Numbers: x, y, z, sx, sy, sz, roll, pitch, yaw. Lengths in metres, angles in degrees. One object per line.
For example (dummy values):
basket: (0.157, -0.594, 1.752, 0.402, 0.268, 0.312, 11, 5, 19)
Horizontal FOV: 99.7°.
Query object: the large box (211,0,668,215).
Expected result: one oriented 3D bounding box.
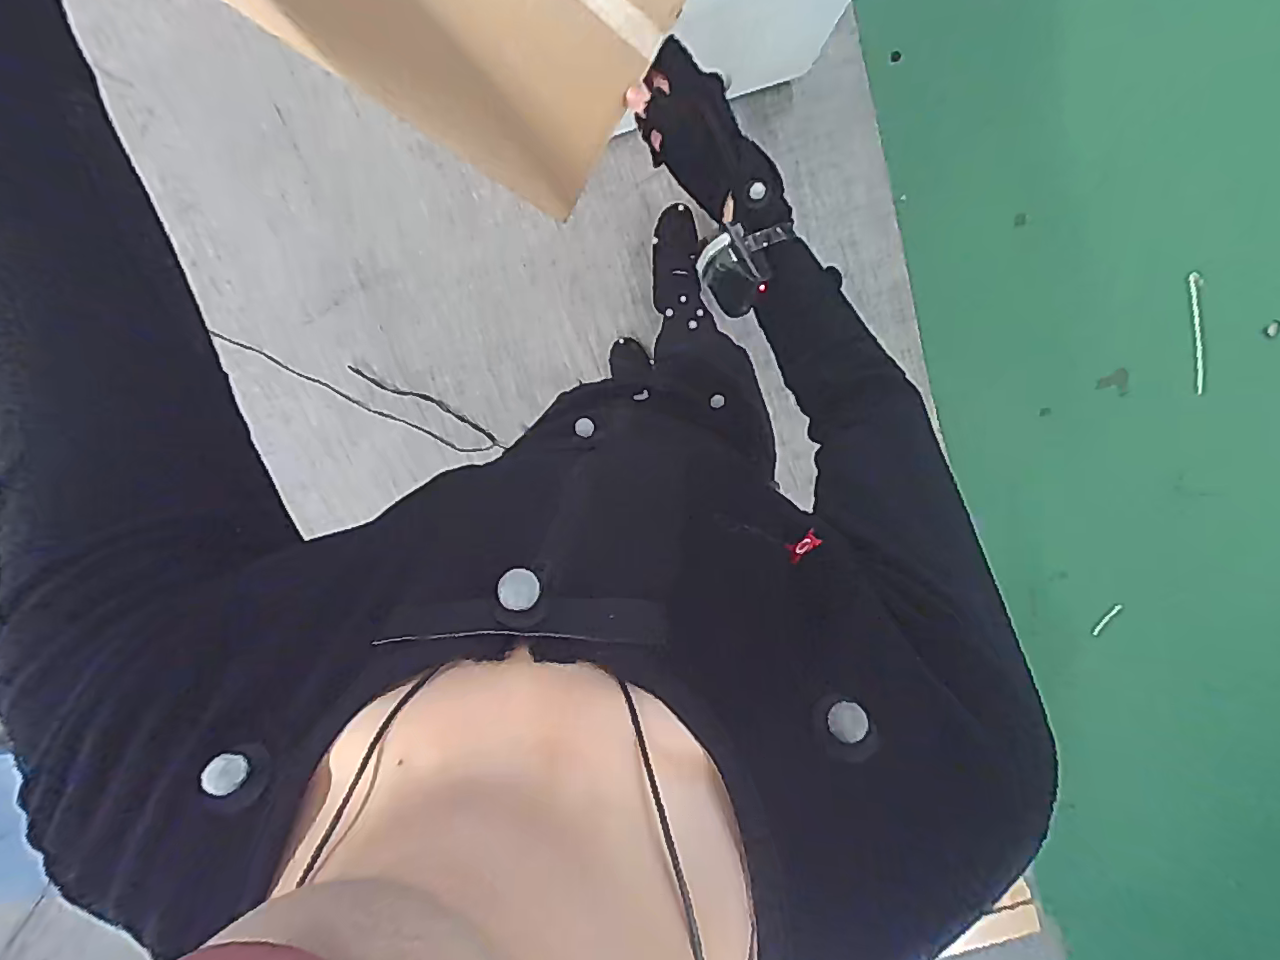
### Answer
large box: (-0.178, -0.516, 0.480, 0.408, 0.320, 0.320, 26, 118, -25)
